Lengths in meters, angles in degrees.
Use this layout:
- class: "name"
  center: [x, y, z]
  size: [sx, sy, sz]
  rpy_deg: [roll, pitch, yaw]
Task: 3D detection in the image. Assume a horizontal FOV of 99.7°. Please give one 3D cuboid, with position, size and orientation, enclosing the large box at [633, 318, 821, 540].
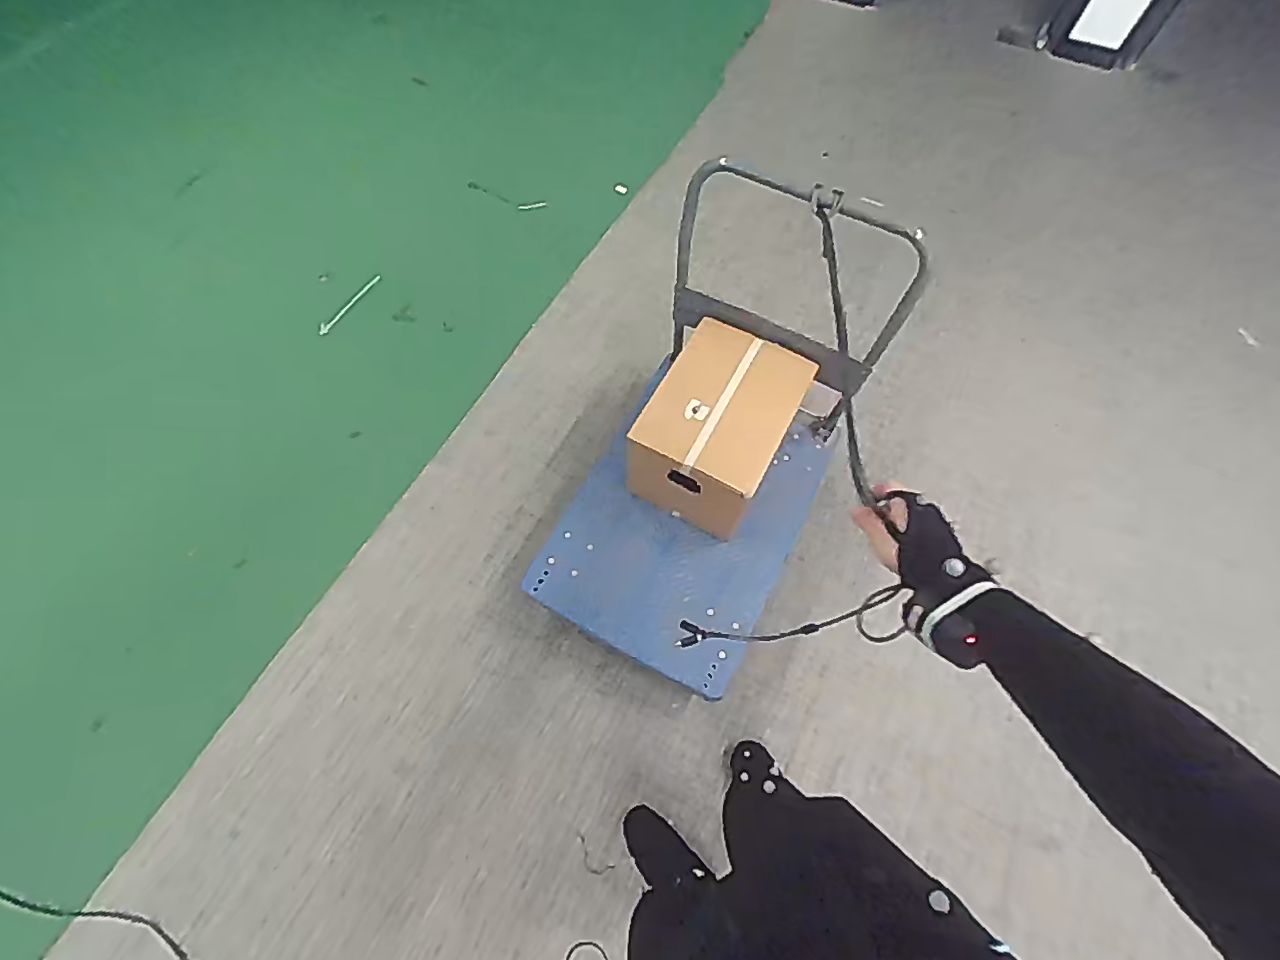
- class: "large box"
  center: [0.208, -0.121, 1.382]
  size: [0.320, 0.320, 0.408]
  rpy_deg: [27, 69, 11]
